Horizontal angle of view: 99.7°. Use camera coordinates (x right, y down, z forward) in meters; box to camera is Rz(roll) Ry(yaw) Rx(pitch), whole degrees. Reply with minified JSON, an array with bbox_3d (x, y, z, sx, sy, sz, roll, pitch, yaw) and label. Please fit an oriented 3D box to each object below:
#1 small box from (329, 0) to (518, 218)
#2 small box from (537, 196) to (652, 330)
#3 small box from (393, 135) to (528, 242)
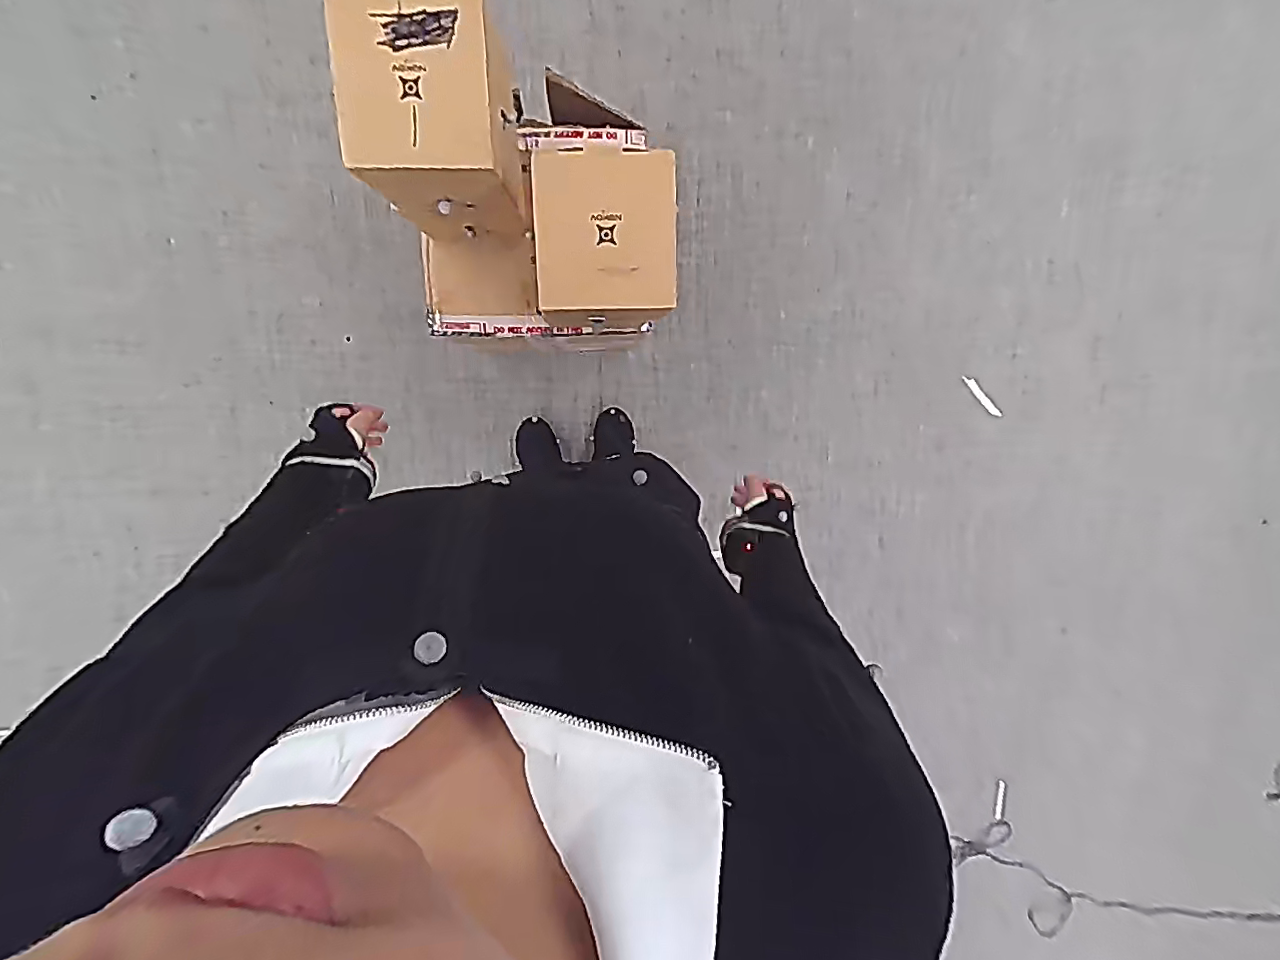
[{"bbox_3d":[-0.246,-0.438,0.658,0.168,0.176,0.179,-1,102,-3],"label":"small box"},{"bbox_3d":[-0.070,-0.332,0.861,0.168,0.176,0.179,-2,101,-5],"label":"small box"},{"bbox_3d":[-0.270,-0.474,0.817,0.168,0.176,0.179,-4,102,-2],"label":"small box"}]
